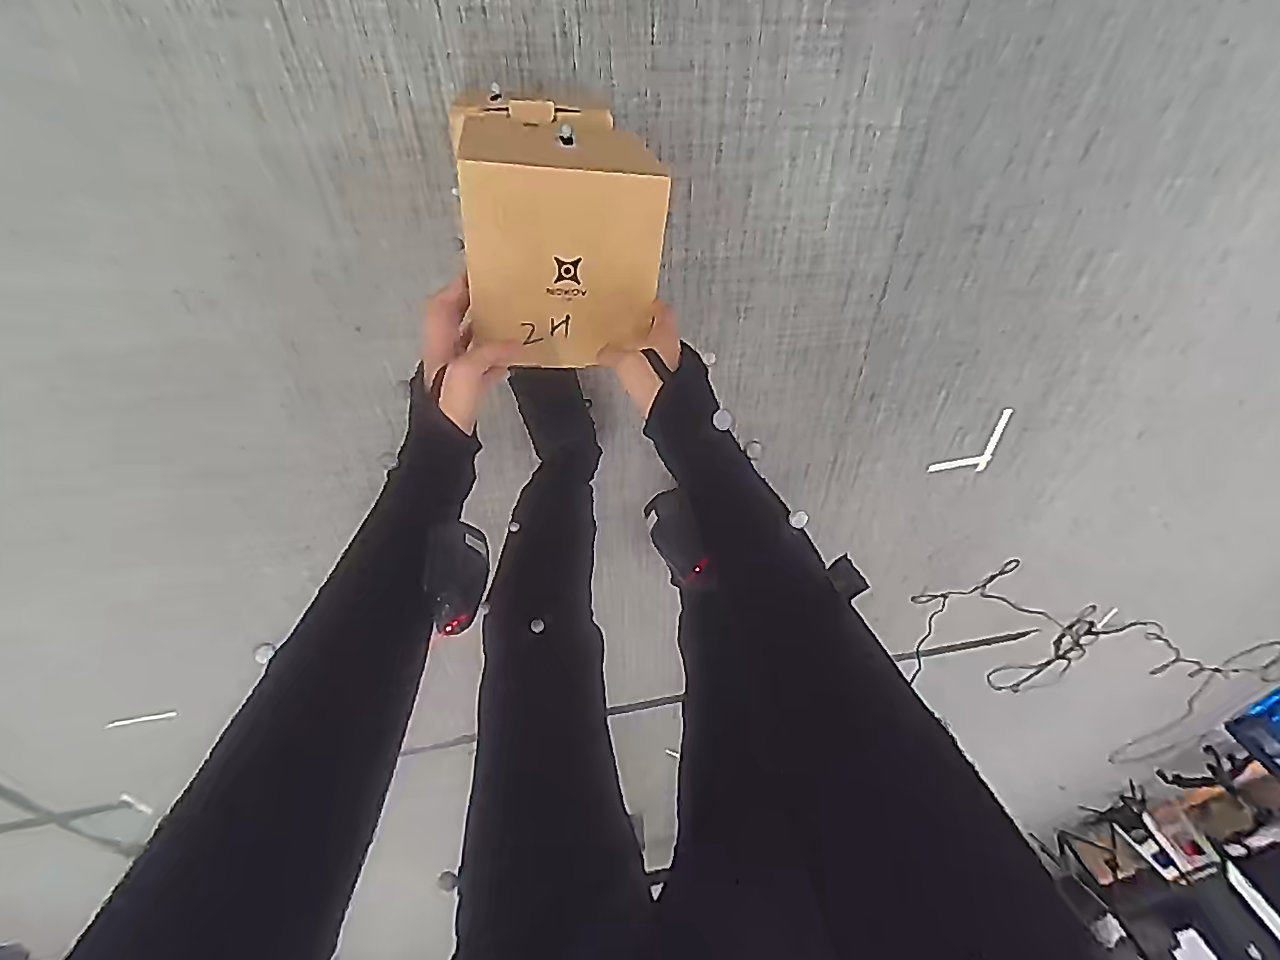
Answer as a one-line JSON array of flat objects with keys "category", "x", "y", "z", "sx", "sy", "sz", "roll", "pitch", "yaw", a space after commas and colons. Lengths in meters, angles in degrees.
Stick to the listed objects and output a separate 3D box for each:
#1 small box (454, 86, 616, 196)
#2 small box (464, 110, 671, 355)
[{"category": "small box", "x": -0.123, "y": -0.366, "z": 0.657, "sx": 0.168, "sy": 0.176, "sz": 0.179, "roll": -4, "pitch": 130, "yaw": -9}, {"category": "small box", "x": -0.080, "y": -0.241, "z": 0.527, "sx": 0.168, "sy": 0.176, "sz": 0.179, "roll": -2, "pitch": 133, "yaw": -13}]
